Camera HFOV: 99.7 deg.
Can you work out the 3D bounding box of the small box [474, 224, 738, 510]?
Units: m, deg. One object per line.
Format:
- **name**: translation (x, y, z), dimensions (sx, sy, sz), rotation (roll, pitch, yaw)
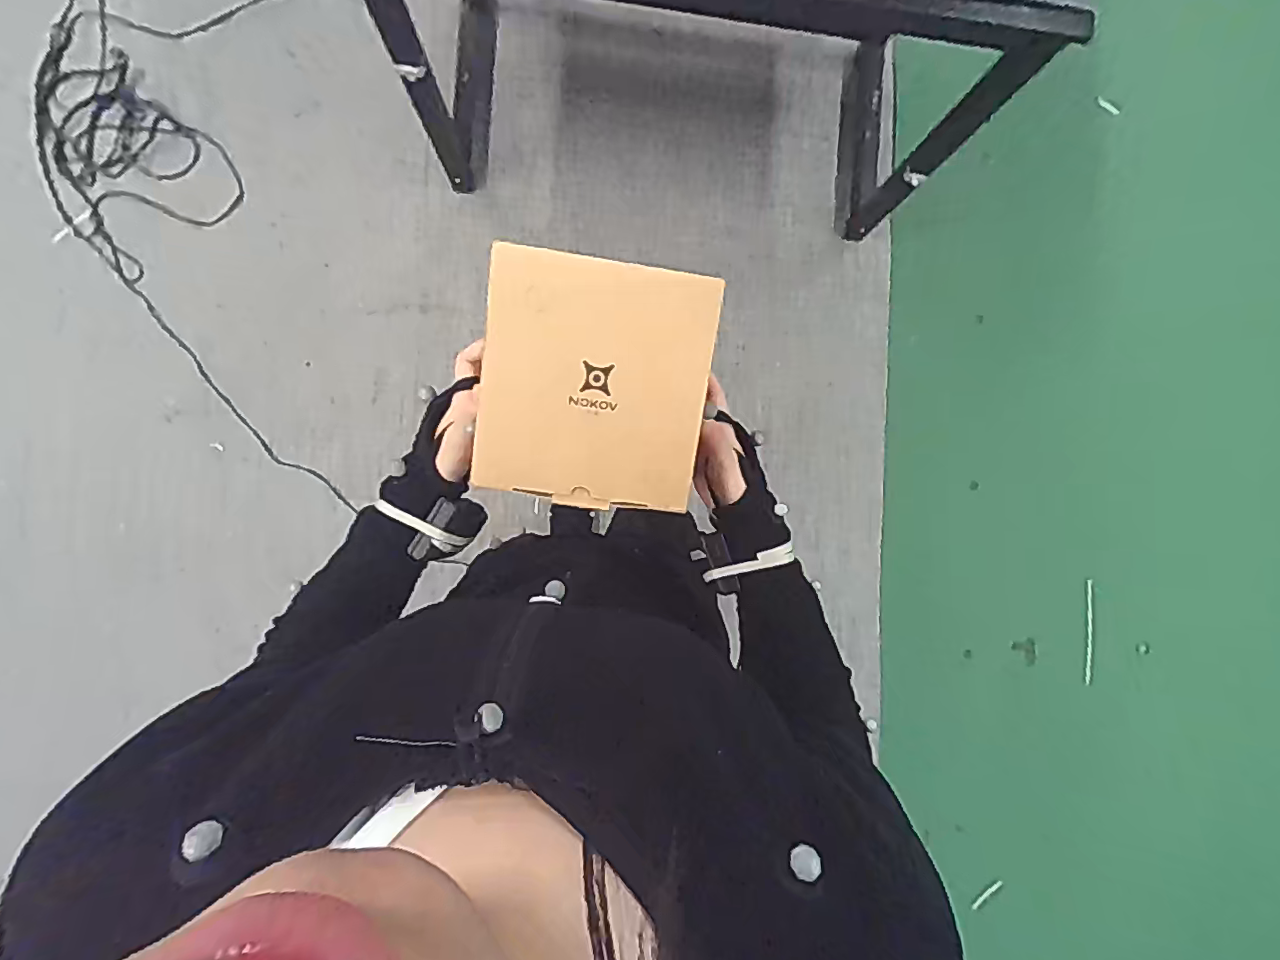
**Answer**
- **small box**: translation (-0.031, -0.087, 0.456), dimensions (0.168, 0.176, 0.179), rotation (8, 100, -6)
